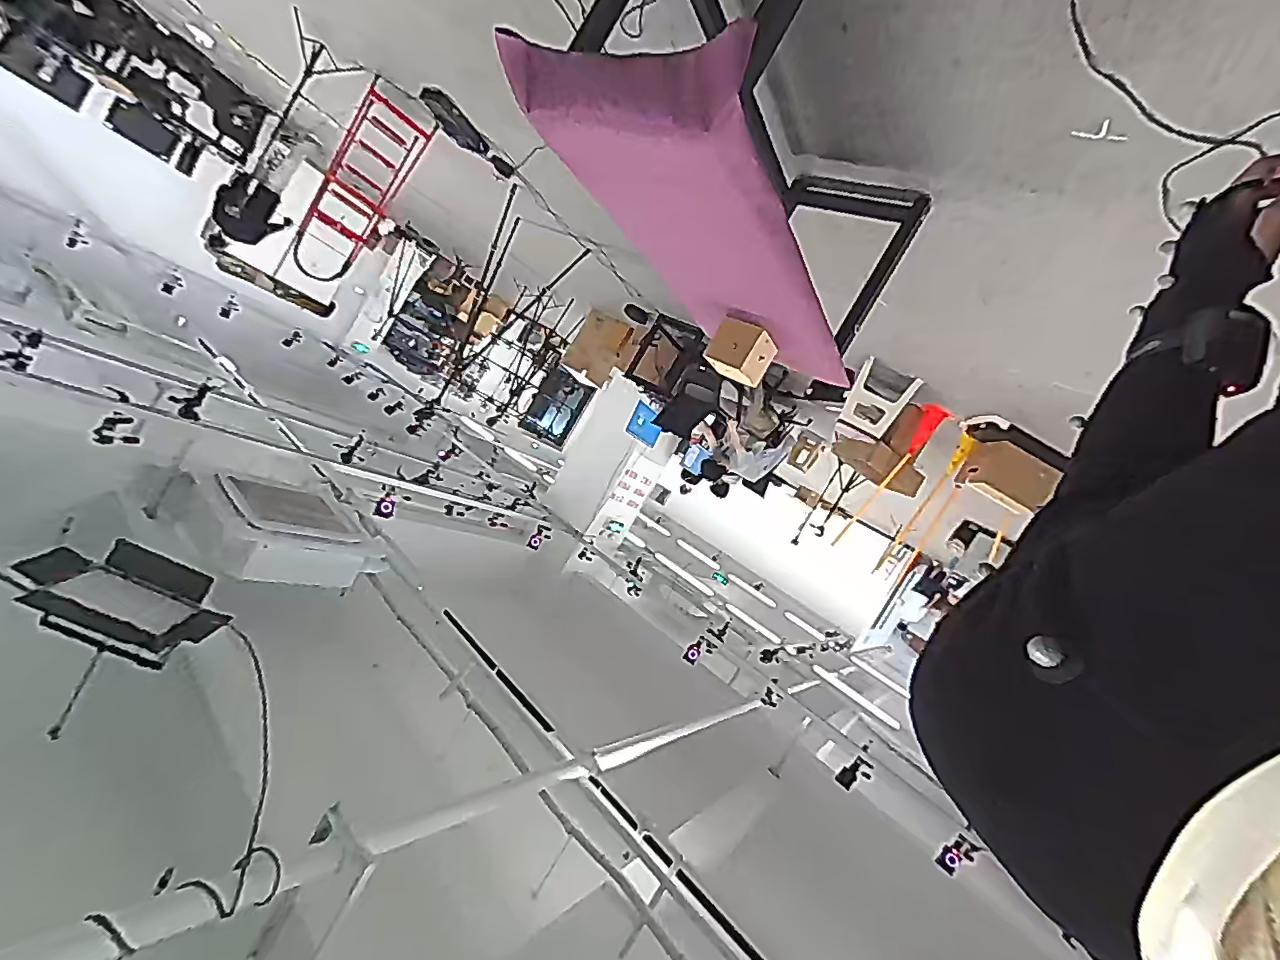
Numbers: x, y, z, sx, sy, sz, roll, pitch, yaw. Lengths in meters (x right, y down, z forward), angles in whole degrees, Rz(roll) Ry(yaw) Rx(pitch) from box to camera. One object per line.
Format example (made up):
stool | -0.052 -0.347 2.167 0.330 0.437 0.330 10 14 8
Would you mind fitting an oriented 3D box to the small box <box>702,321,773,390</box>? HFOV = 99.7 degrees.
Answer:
small box | 0.366 -0.460 1.983 0.179 0.176 0.168 31 -179 34
